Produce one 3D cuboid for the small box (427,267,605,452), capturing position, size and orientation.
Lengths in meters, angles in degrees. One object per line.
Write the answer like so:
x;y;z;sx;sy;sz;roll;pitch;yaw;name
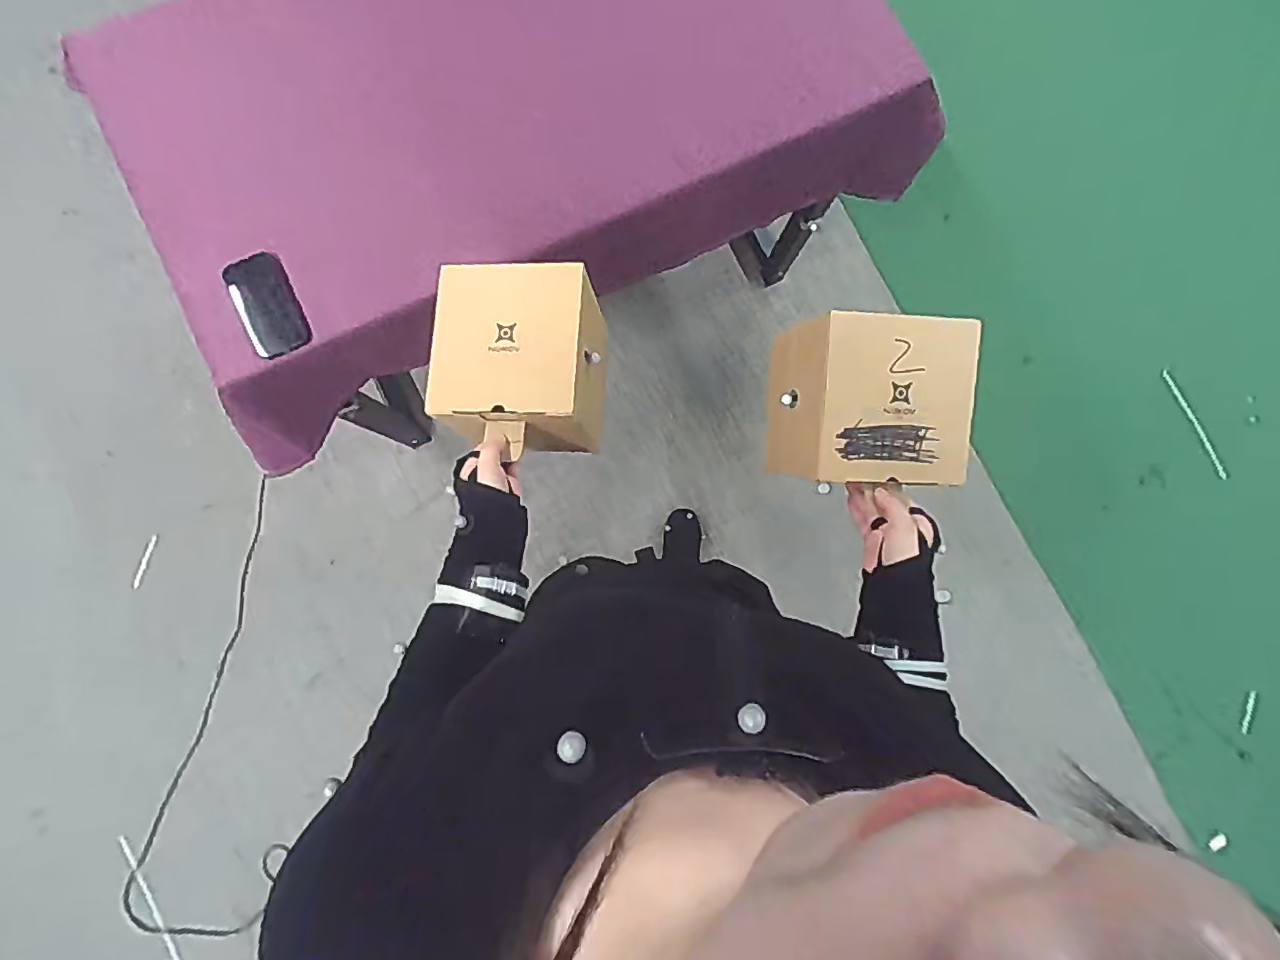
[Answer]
-0.140;-0.140;0.672;0.168;0.176;0.179;1;81;7;small box
